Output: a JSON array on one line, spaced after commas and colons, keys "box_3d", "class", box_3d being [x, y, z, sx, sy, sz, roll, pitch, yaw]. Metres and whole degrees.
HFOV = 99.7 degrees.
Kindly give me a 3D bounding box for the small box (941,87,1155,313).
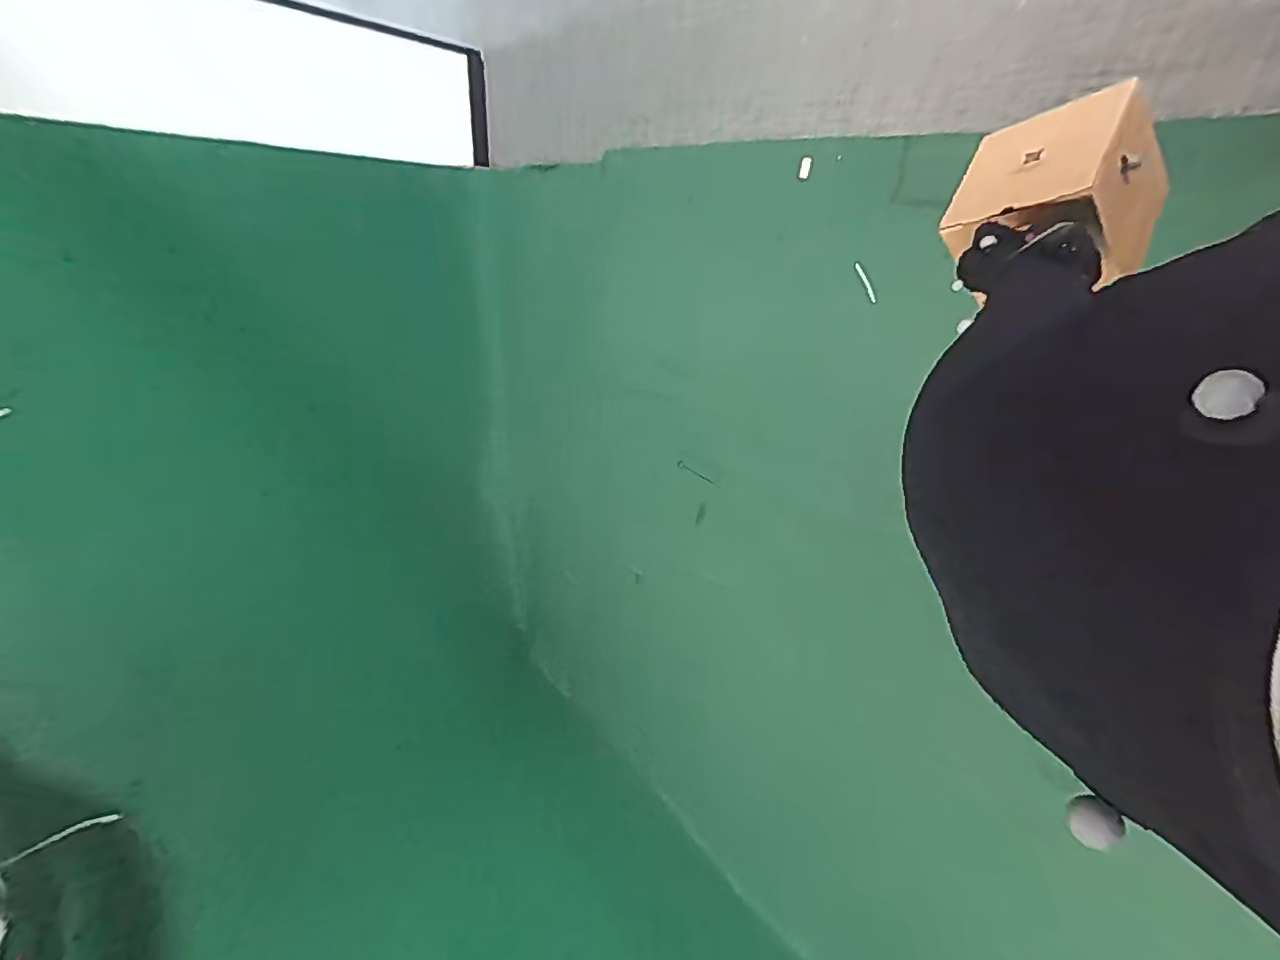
[{"box_3d": [0.540, -0.350, 0.712, 0.168, 0.176, 0.179, 13, 69, 56], "class": "small box"}]
